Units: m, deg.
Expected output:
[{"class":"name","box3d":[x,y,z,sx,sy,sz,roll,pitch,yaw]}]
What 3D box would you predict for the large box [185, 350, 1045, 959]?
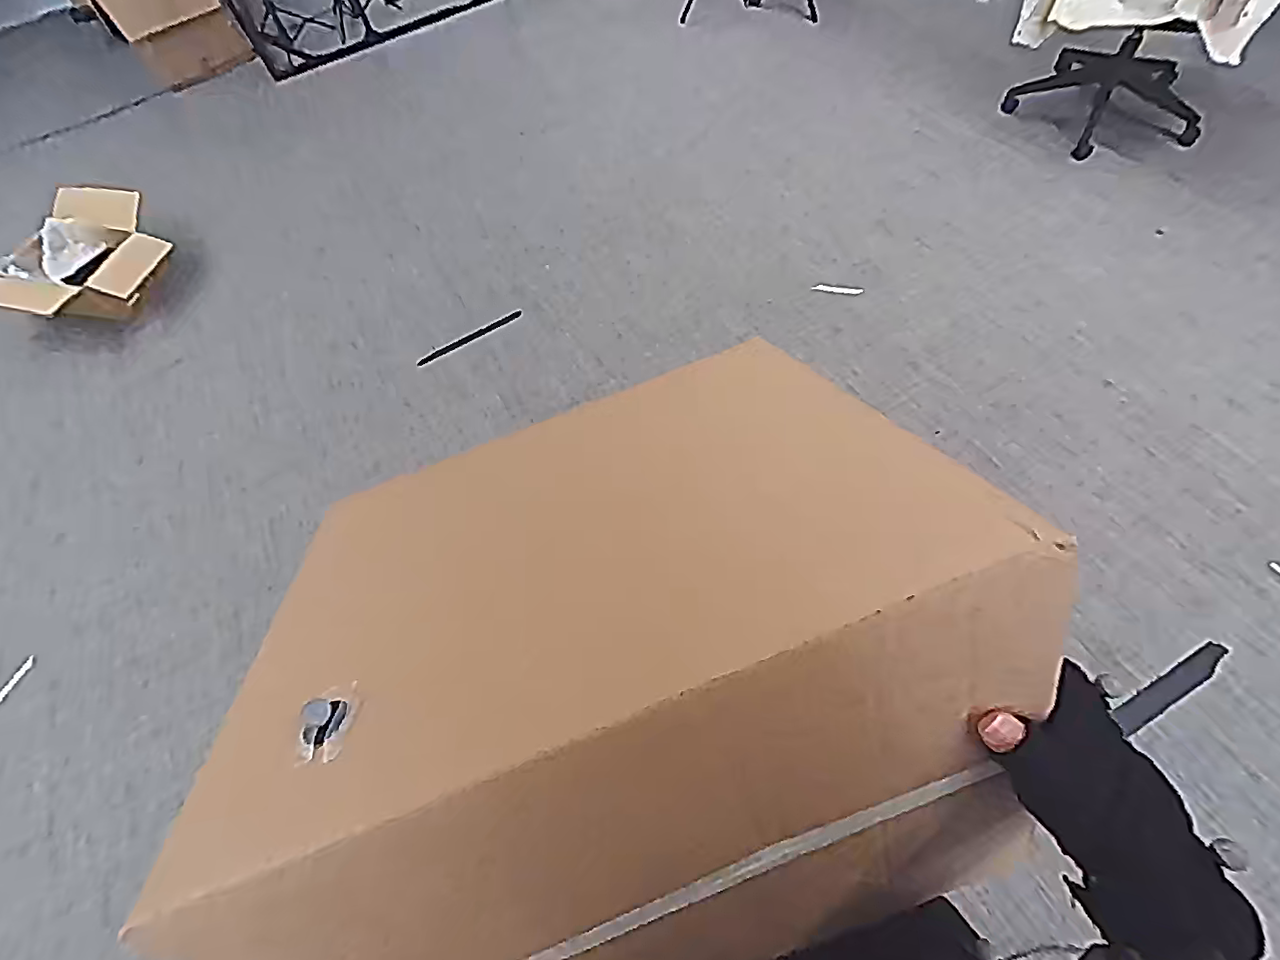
[{"class":"large box","box3d":[0.004,0.143,0.431,0.408,0.320,0.320,-22,33,-1]}]
